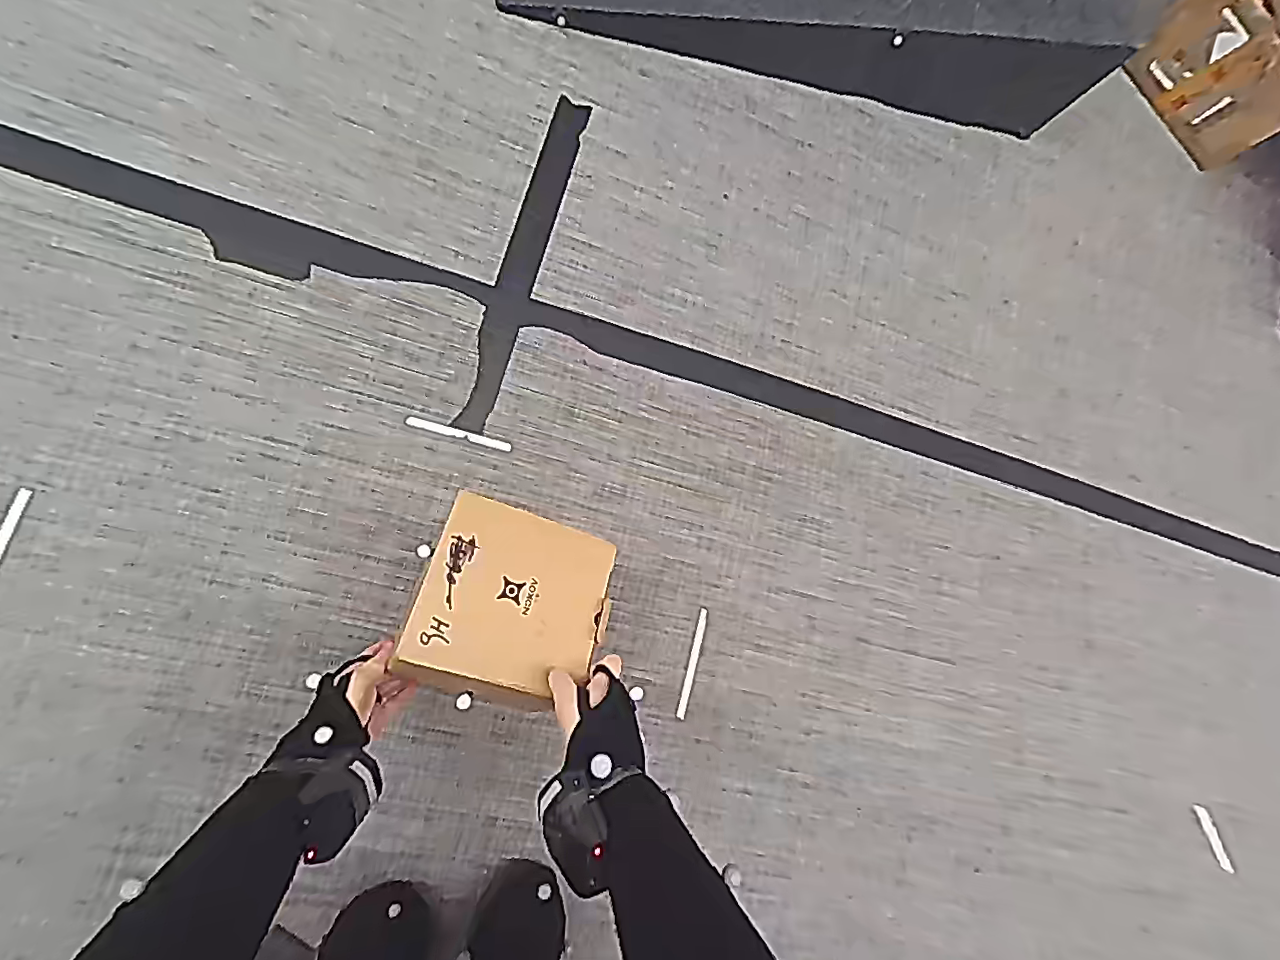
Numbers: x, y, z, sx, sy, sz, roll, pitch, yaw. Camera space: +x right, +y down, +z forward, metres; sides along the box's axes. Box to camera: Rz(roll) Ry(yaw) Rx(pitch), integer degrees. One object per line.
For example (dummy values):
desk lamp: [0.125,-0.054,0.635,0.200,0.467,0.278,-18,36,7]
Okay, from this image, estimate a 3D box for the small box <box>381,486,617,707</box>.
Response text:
small box: [-0.151,0.133,0.571,0.179,0.176,0.168,24,59,-18]
